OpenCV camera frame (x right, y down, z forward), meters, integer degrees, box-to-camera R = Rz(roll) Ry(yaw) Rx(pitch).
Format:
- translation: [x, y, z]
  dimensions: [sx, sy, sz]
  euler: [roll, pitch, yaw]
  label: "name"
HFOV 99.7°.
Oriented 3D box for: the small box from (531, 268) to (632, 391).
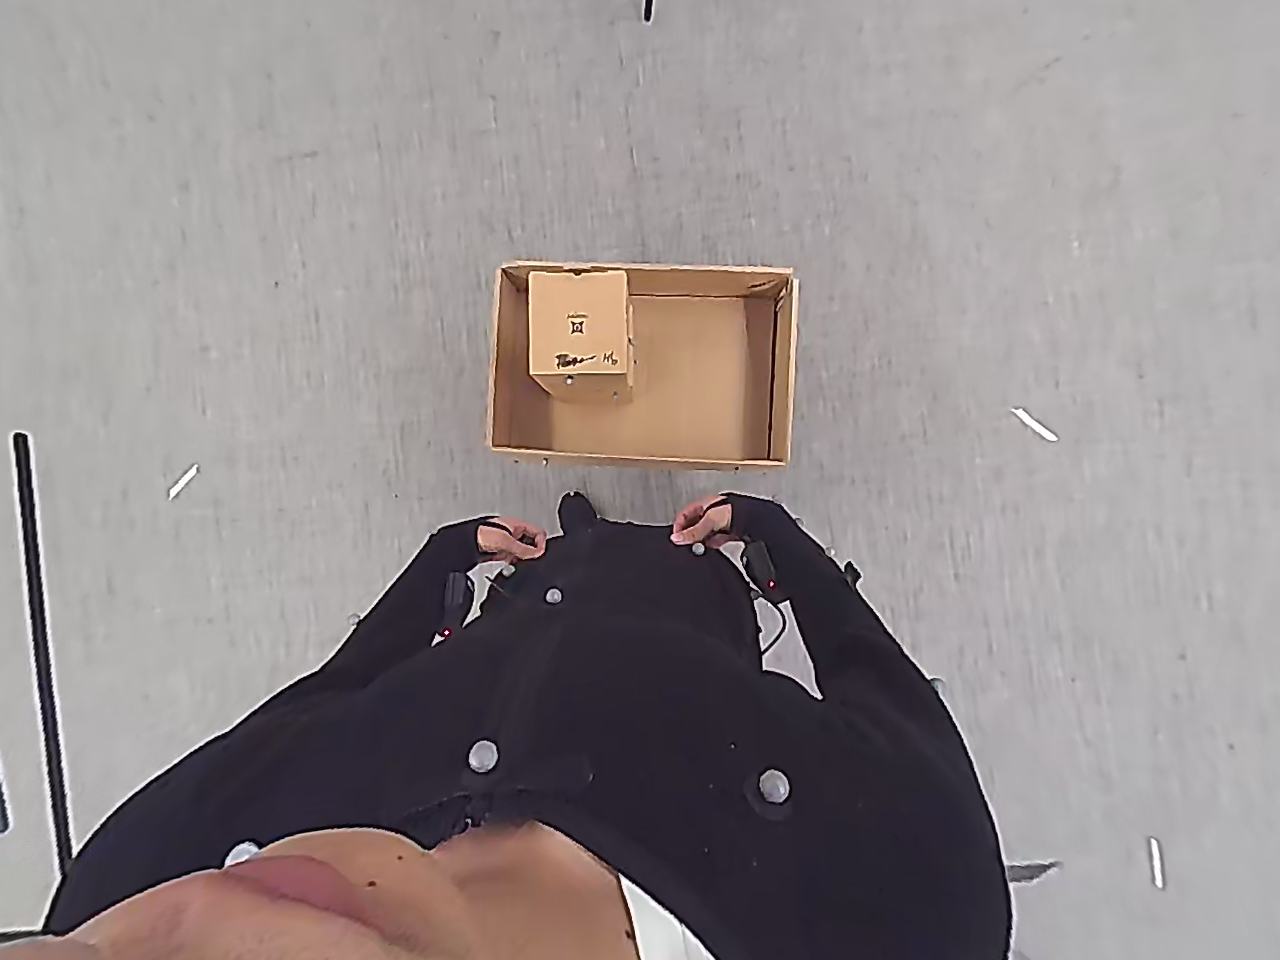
- translation: [-0.099, -0.264, 0.981]
  dimensions: [0.168, 0.176, 0.179]
  euler: [0, 89, 1]
  label: "small box"
